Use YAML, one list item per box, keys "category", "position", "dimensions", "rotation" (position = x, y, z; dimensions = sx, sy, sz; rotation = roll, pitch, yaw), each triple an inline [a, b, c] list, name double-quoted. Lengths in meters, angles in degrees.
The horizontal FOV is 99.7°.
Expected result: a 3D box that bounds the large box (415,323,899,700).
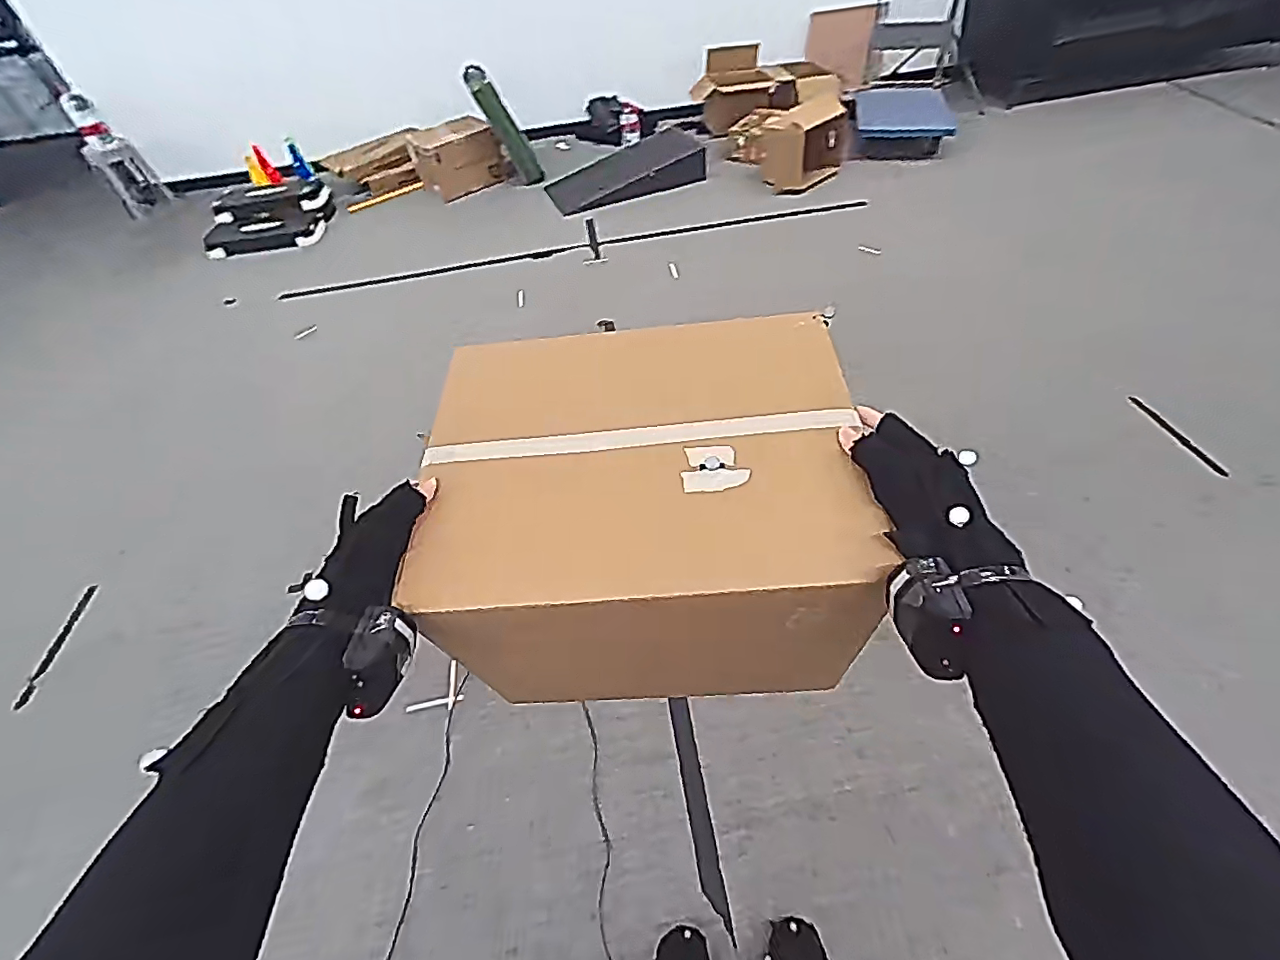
- category: "large box"
  position: [0.015, 0.053, 0.641]
  dimensions: [0.408, 0.320, 0.320]
  rotation: [-5, 55, 3]
